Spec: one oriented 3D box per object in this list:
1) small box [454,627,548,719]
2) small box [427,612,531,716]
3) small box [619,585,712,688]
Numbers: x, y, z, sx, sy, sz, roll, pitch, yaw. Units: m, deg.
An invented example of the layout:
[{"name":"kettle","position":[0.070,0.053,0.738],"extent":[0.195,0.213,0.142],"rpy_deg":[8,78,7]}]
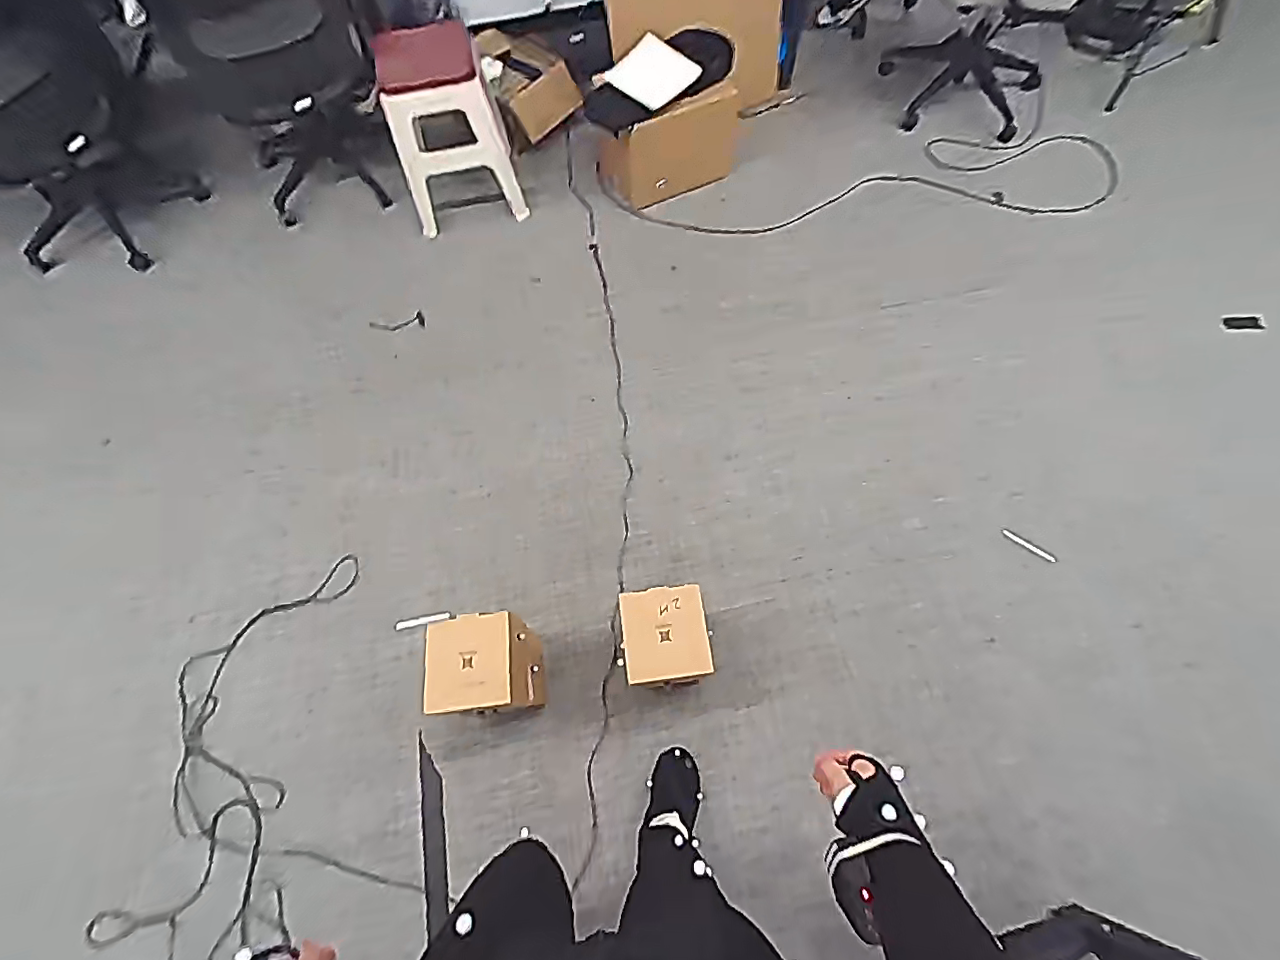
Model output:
[{"name":"small box","position":[-0.326,0.457,1.268],"extent":[0.179,0.176,0.168],"rpy_deg":[-12,66,-3]},{"name":"small box","position":[-0.327,0.385,1.120],"extent":[0.168,0.176,0.179],"rpy_deg":[-9,67,-1]},{"name":"small box","position":[0.049,0.333,1.130],"extent":[0.168,0.176,0.179],"rpy_deg":[-7,65,-3]}]
